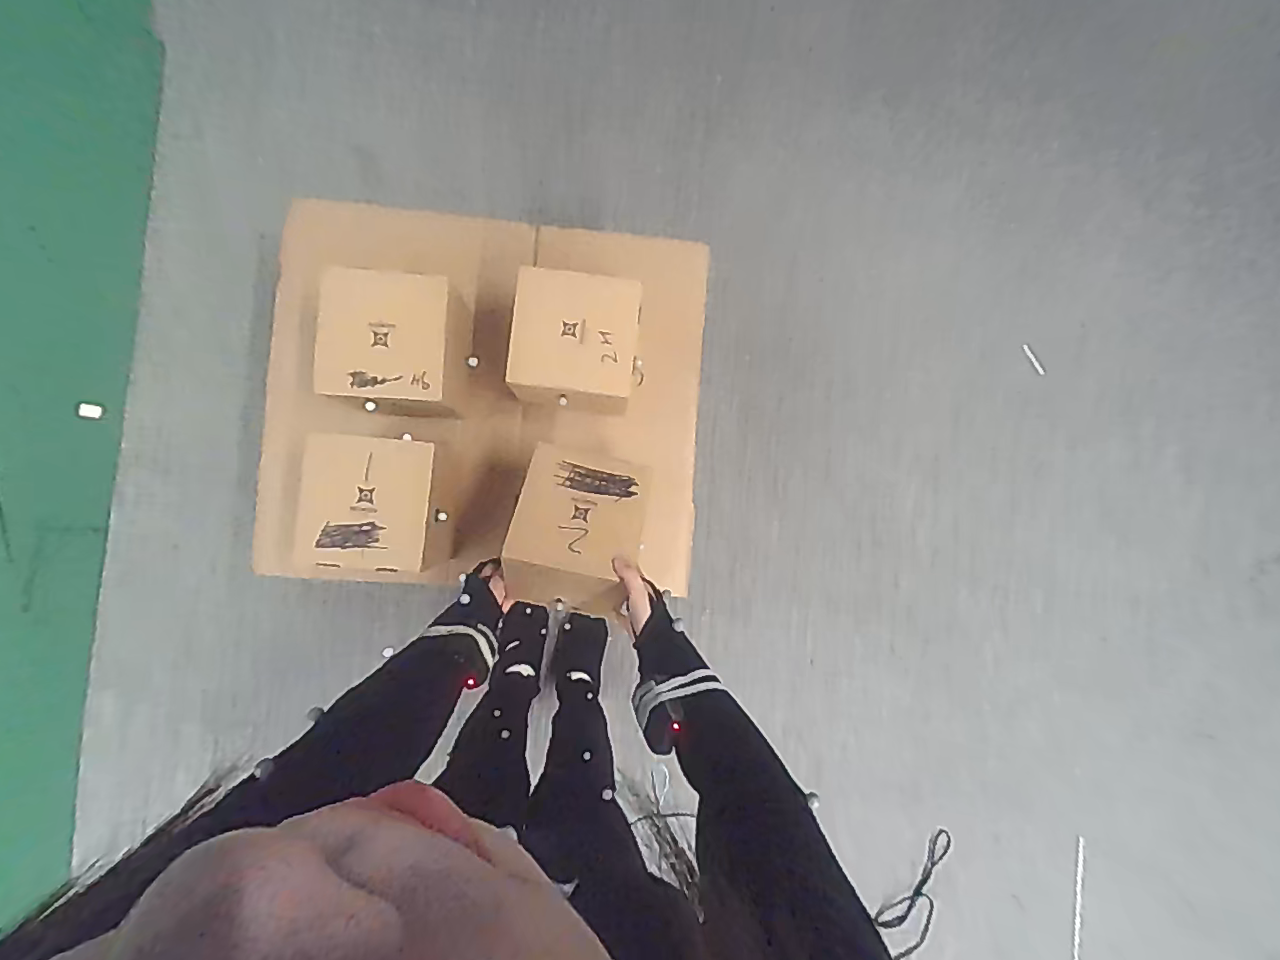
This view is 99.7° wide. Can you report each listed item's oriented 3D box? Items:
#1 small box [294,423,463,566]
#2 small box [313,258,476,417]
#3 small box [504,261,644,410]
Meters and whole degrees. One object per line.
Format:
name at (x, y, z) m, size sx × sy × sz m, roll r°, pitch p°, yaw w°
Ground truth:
small box at (-0.366, 0.022, 0.788) m, size 0.168 × 0.176 × 0.179 m, roll 5°, pitch 87°, yaw -4°
small box at (-0.346, -0.198, 0.795) m, size 0.168 × 0.176 × 0.179 m, roll 3°, pitch 87°, yaw -4°
small box at (-0.094, -0.207, 0.820) m, size 0.179 × 0.176 × 0.168 m, roll 7°, pitch 88°, yaw -3°
